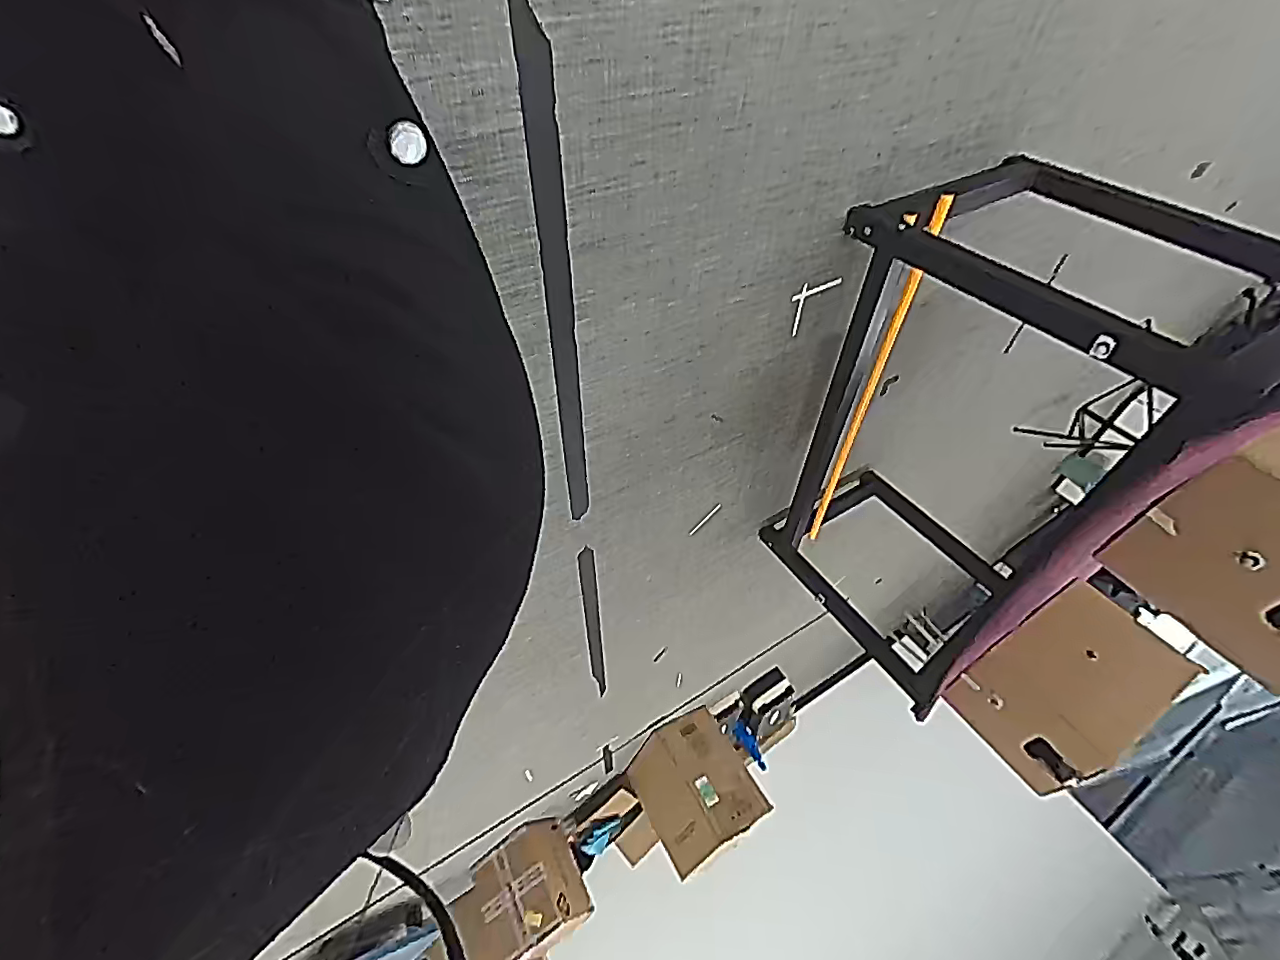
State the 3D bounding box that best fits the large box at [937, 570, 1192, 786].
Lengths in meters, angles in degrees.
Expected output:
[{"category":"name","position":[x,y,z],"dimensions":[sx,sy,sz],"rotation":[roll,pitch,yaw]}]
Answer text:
[{"category":"large box","position":[1.091,0.515,1.433],"dimensions":[0.408,0.320,0.320],"rotation":[-26,144,-21]}]
